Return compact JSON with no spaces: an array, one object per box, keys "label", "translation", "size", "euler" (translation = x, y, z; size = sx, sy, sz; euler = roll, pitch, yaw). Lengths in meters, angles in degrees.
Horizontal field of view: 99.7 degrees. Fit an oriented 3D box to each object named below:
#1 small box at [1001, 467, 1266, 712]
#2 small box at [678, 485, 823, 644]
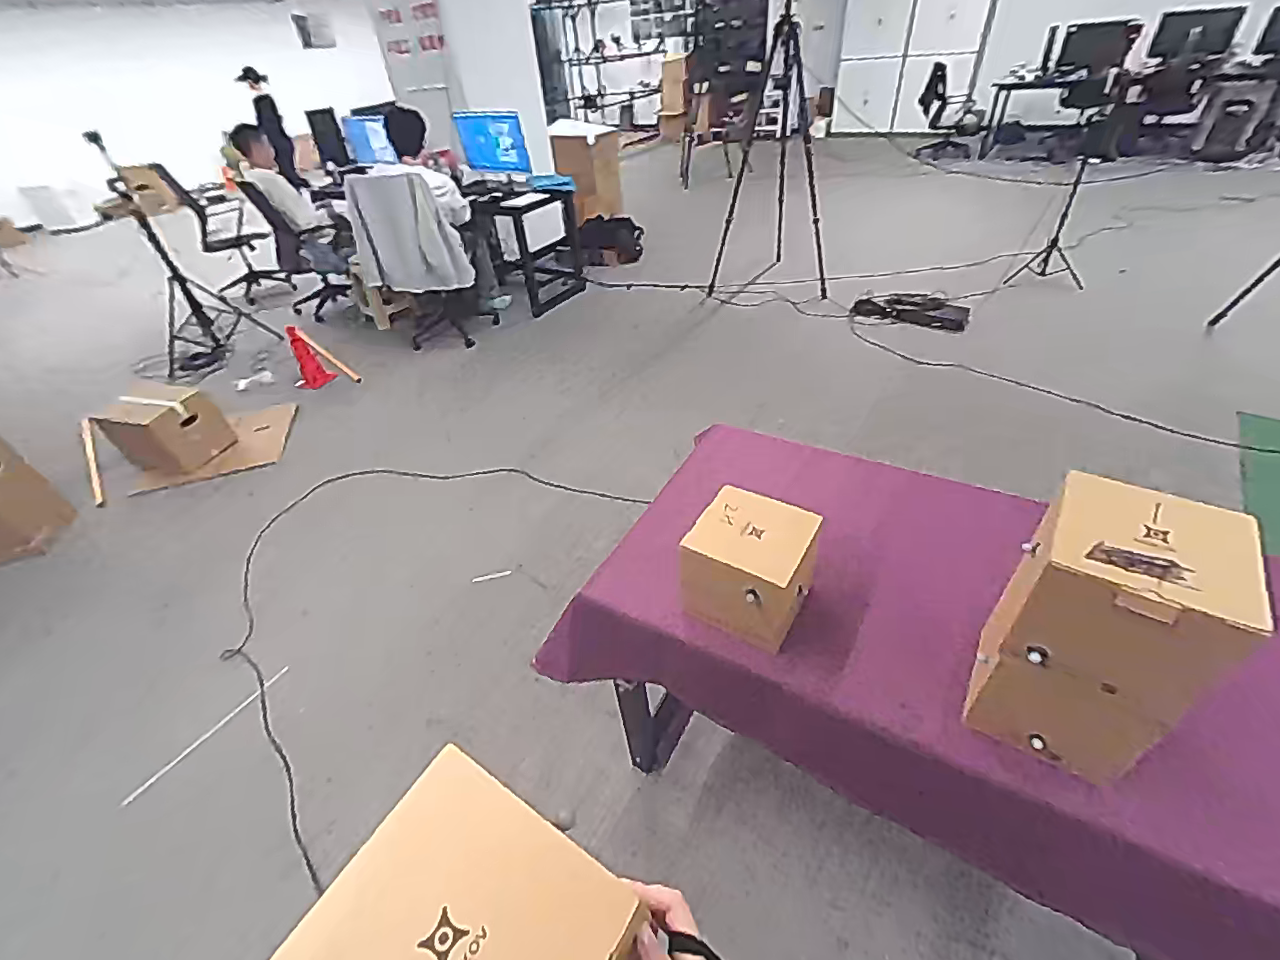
[{"label":"small box","translation":[0.532,0.118,0.605],"size":[0.168,0.176,0.179],"euler":[21,46,30]},{"label":"small box","translation":[0.180,0.140,0.892],"size":[0.179,0.176,0.168],"euler":[19,45,28]}]
